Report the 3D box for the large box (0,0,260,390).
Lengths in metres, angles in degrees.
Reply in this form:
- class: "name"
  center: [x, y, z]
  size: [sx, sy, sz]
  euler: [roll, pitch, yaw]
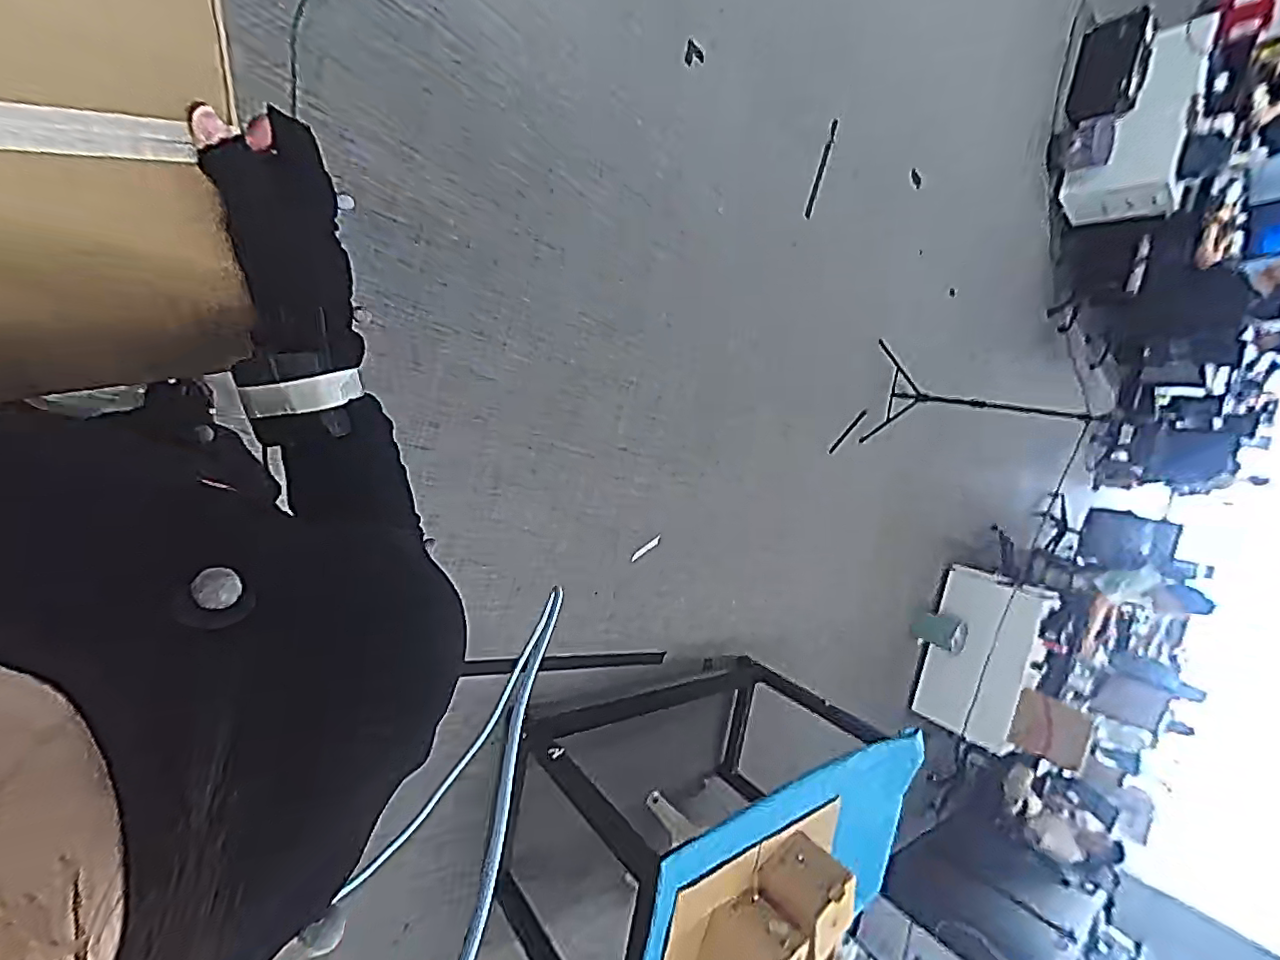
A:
- class: "large box"
  center: [-0.486, -0.241, 0.256]
  size: [0.408, 0.320, 0.320]
  euler: [-23, 149, -40]
